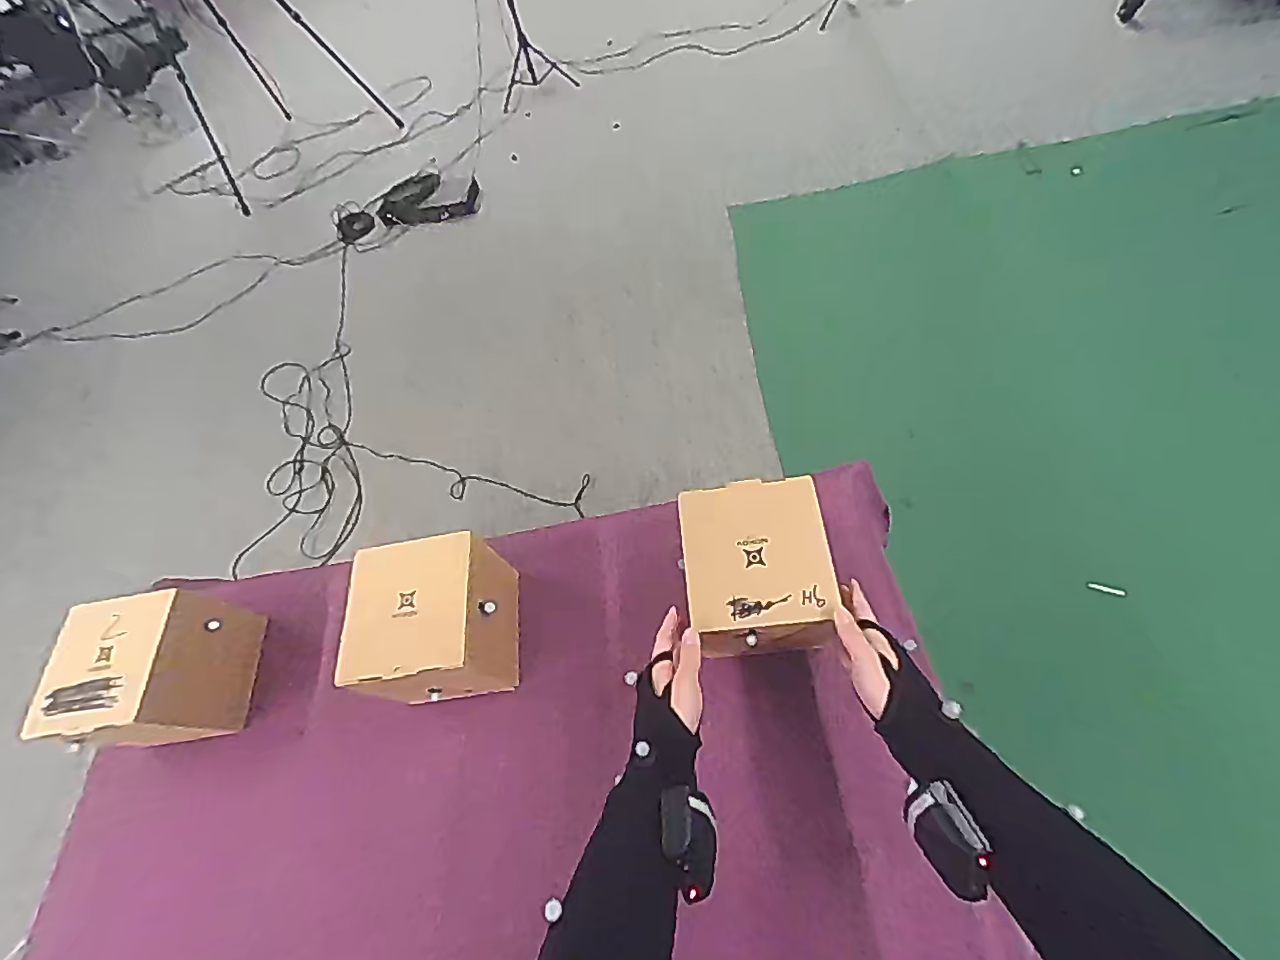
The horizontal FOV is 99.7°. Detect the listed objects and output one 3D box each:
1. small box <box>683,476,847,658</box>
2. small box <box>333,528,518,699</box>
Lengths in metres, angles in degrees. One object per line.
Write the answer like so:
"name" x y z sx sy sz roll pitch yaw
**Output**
"small box" 0.148 0.116 0.684 0.168 0.176 0.179 -7 61 8
"small box" -0.274 0.187 0.734 0.168 0.176 0.179 -10 61 5
